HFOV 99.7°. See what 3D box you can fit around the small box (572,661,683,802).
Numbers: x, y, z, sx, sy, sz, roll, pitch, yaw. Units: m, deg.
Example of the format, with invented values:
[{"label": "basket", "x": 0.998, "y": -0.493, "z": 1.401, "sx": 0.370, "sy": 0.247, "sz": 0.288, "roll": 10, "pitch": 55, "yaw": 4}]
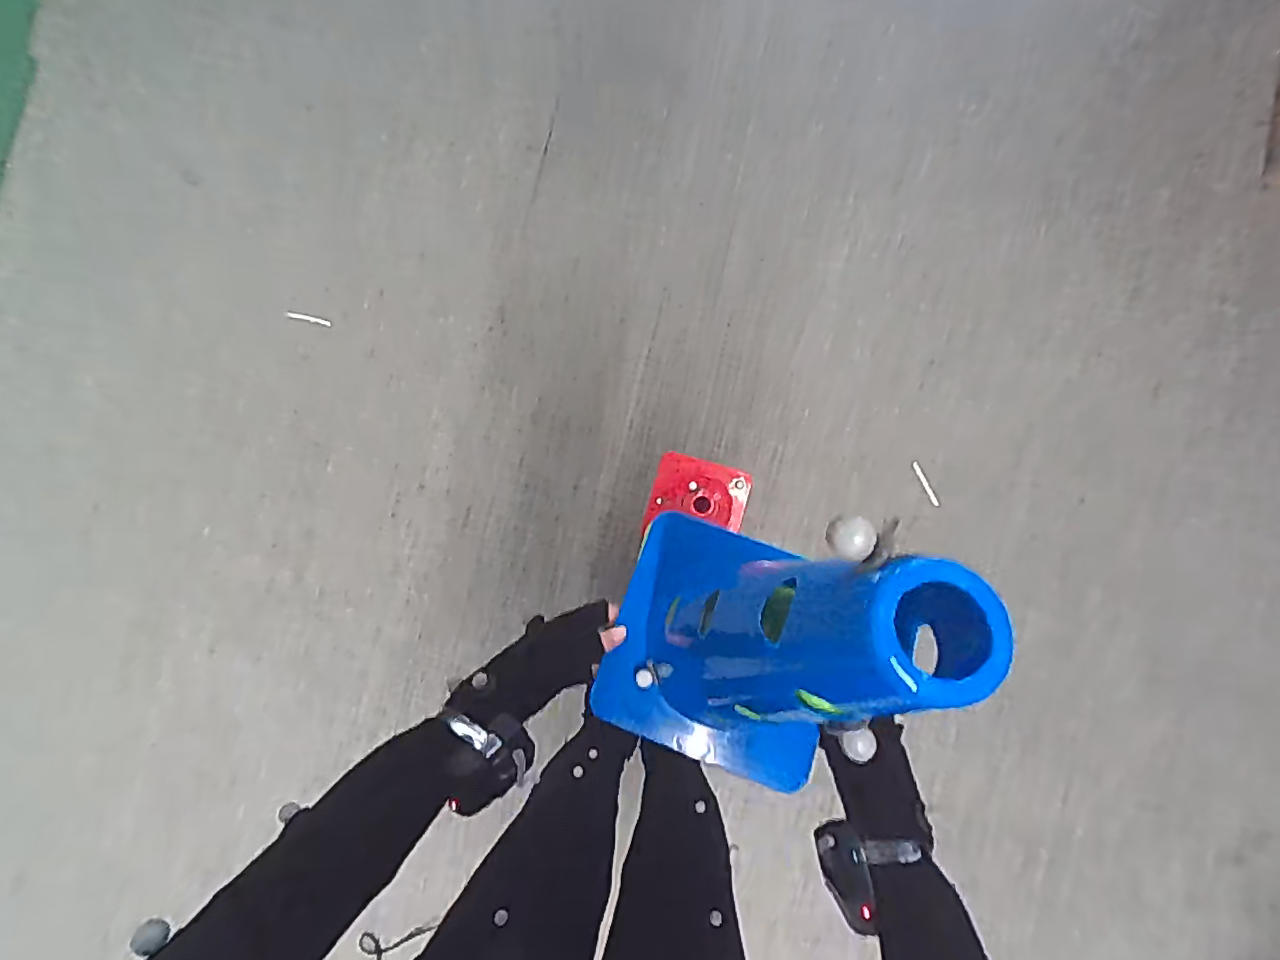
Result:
[{"label": "small box", "x": -0.030, "y": 0.496, "z": 1.087, "sx": 0.168, "sy": 0.176, "sz": 0.179, "roll": 20, "pitch": 90, "yaw": -7}]
